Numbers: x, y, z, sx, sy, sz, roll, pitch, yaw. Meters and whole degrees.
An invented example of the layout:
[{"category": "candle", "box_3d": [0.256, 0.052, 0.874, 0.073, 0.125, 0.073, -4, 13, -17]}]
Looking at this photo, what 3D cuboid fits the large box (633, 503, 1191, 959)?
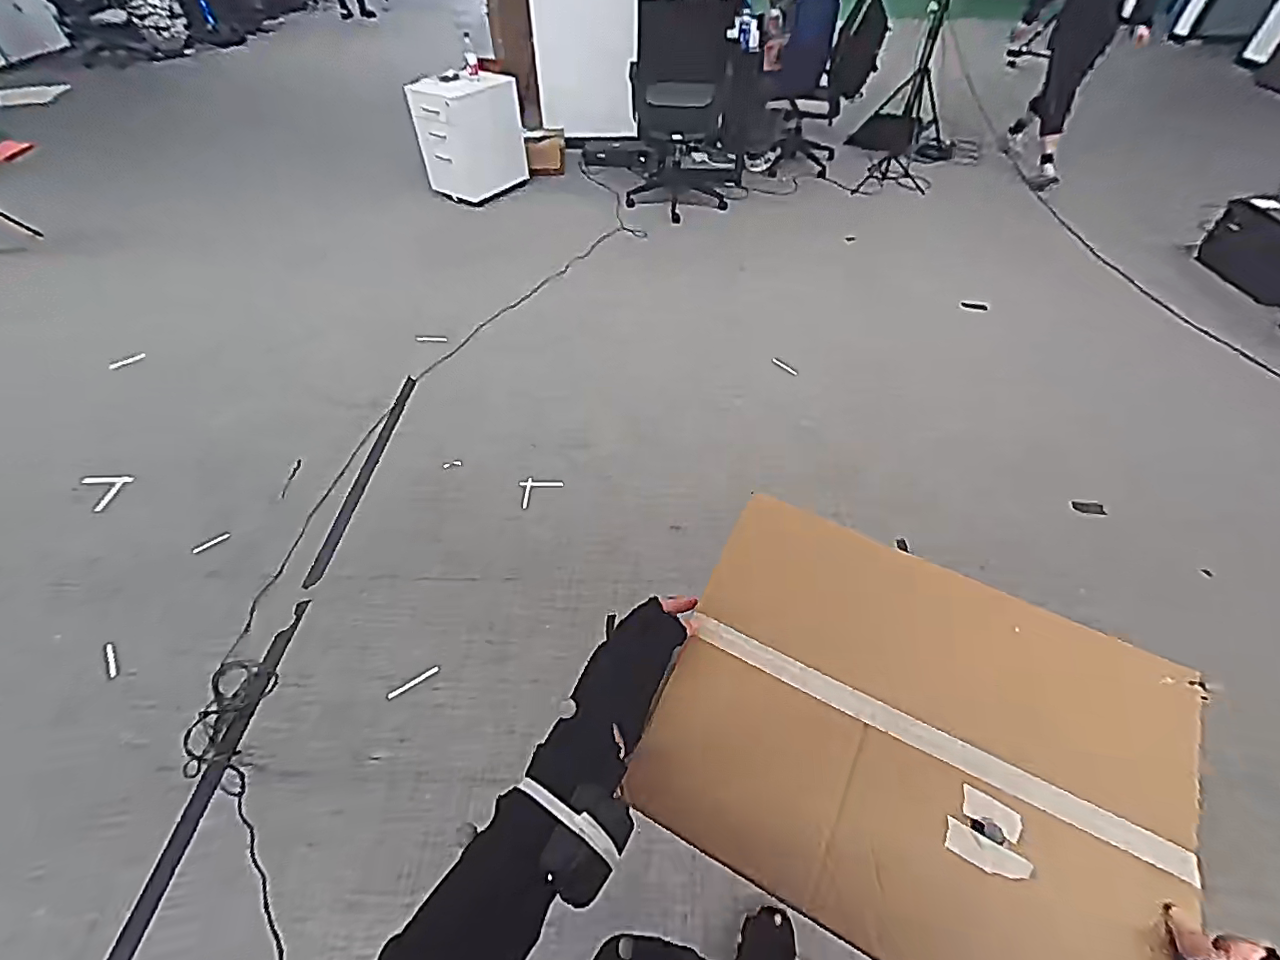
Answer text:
[{"category": "large box", "box_3d": [0.240, 0.288, 0.590, 0.408, 0.320, 0.320, 24, 65, 16]}]
